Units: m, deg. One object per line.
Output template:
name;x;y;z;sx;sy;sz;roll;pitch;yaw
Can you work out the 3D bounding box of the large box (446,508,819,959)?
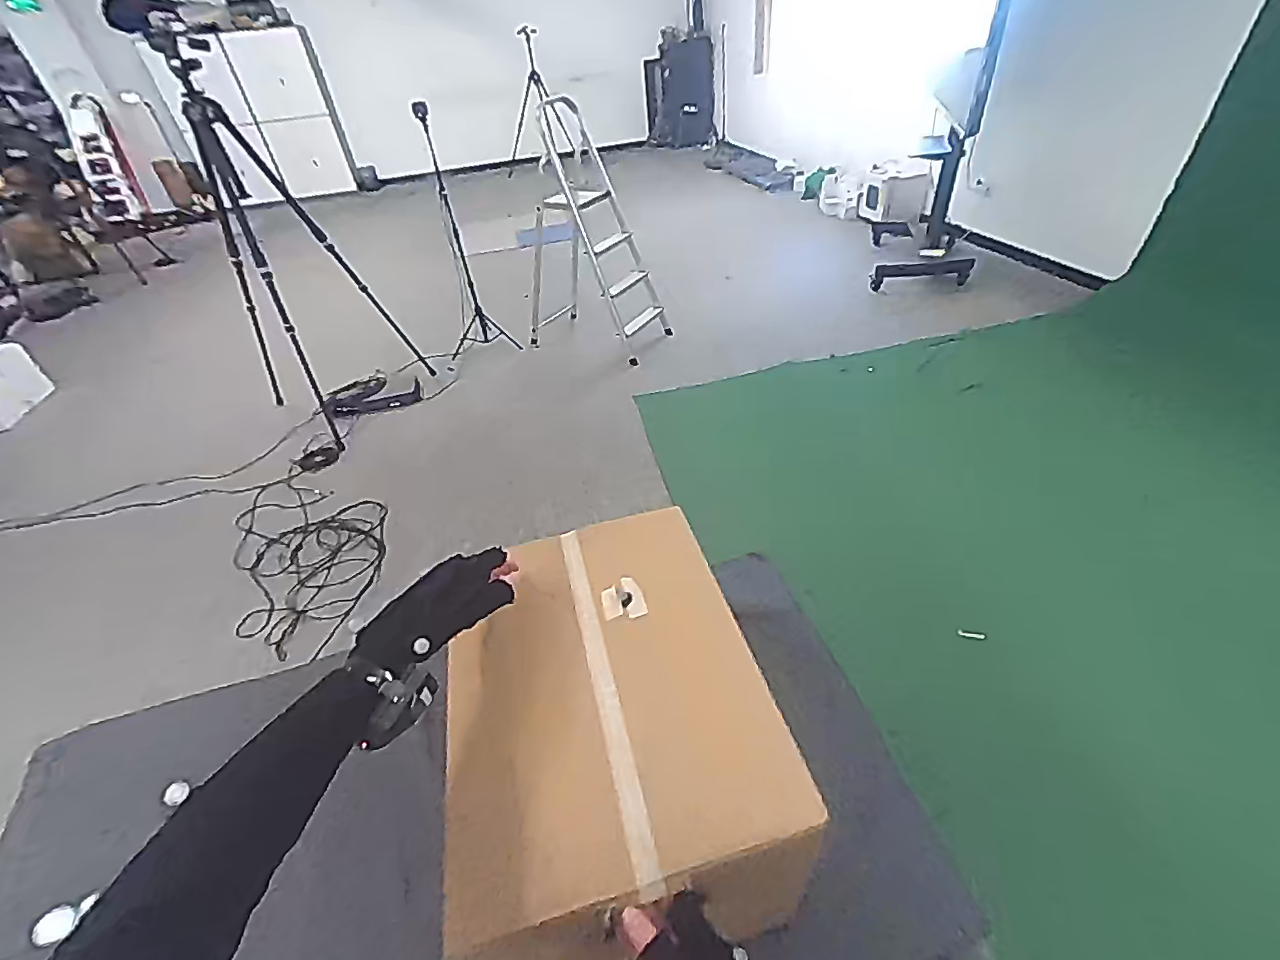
large box;-0.031;0.305;0.662;0.320;0.320;0.408;-14;39;-8
